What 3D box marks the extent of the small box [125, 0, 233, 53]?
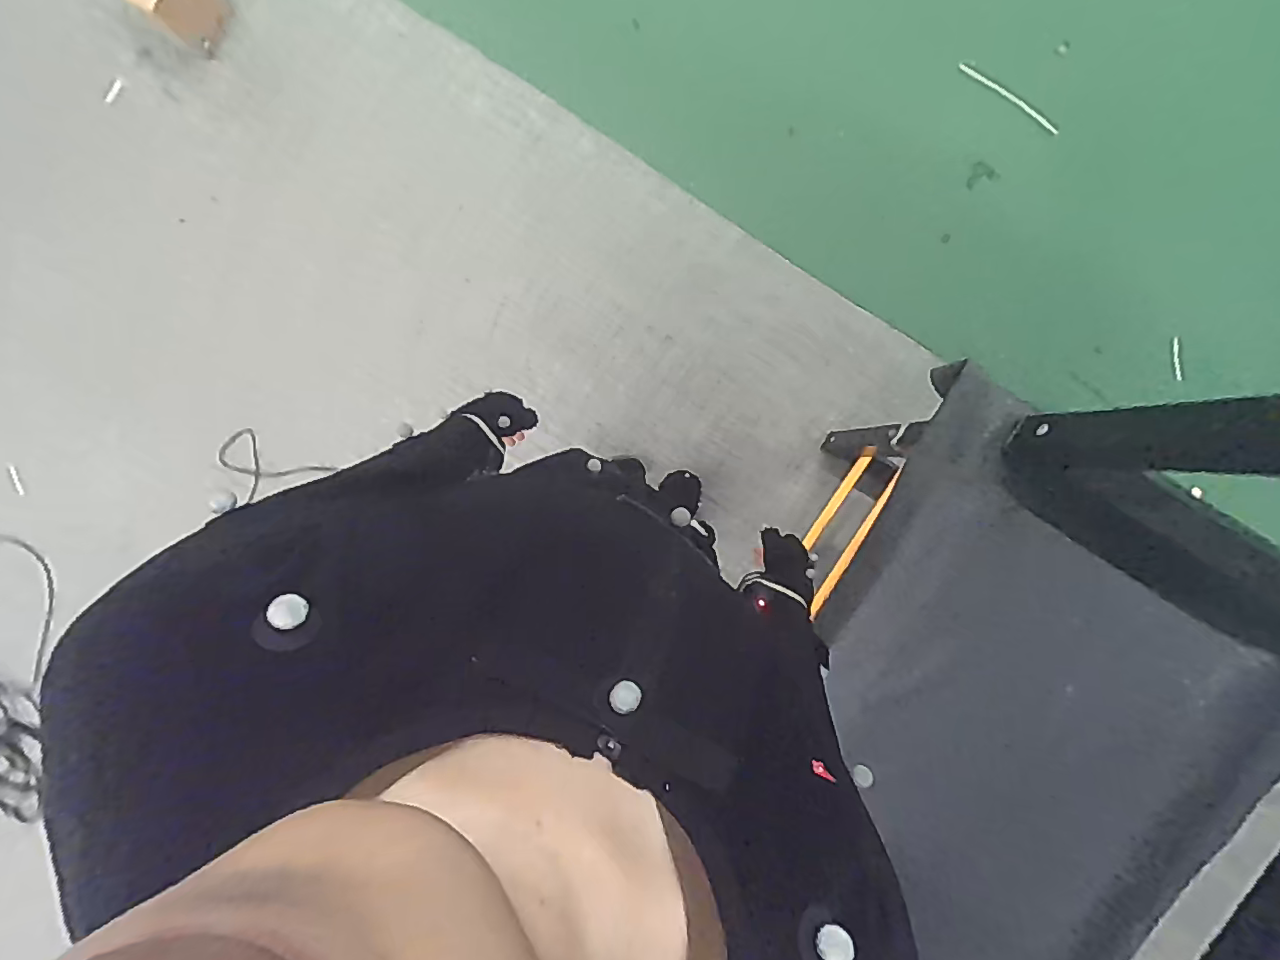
[{"bbox_3d":[-1.177,-1.225,1.347,0.179,0.176,0.168,32,93,-1],"label":"small box"}]
